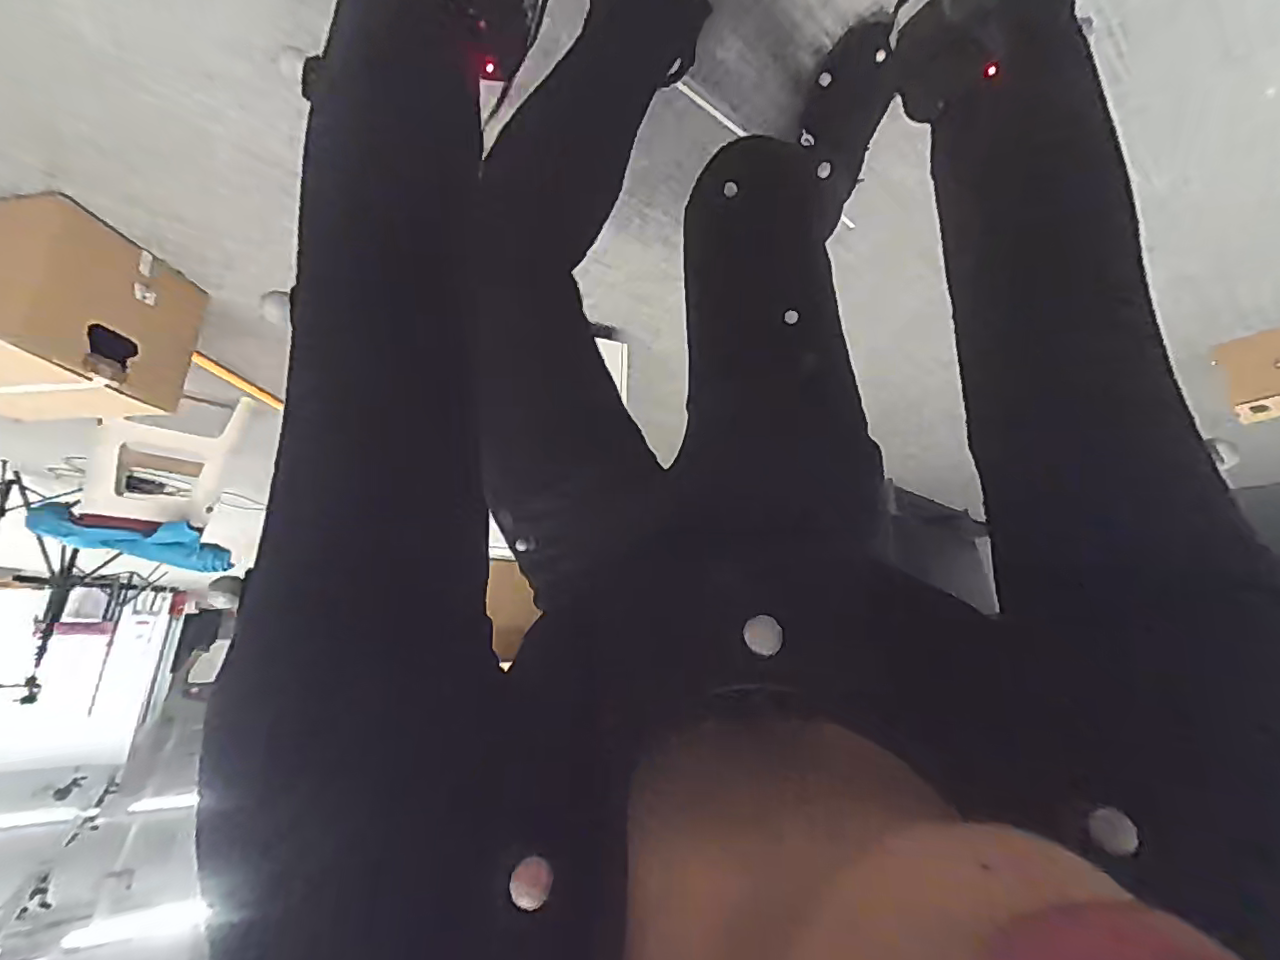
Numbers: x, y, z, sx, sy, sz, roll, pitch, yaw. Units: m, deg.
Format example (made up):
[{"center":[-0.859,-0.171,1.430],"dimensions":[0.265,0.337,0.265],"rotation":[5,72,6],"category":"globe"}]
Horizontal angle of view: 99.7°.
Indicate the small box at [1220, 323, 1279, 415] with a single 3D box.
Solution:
[{"center":[1.609,-0.287,1.362],"dimensions":[0.168,0.176,0.179],"rotation":[14,158,-36],"category":"small box"}]
